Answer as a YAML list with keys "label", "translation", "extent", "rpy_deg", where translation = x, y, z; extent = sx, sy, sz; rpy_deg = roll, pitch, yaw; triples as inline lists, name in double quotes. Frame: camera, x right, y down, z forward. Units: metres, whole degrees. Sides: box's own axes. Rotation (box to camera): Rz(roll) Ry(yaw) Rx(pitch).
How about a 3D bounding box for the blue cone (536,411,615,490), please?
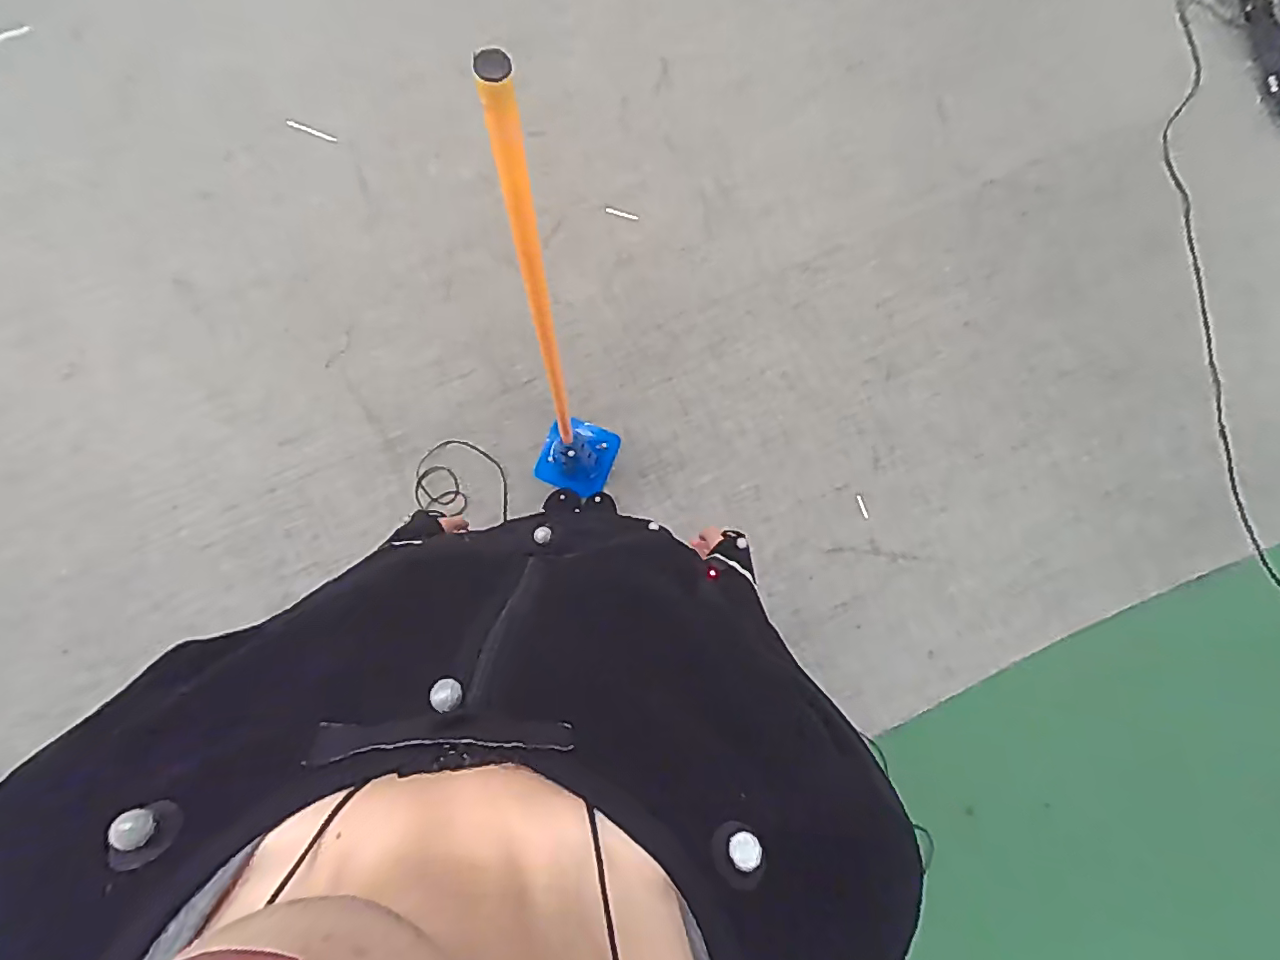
- label: "blue cone"
  translation: [-0.168, -0.094, 1.326]
  extent: [0.192, 0.380, 0.193]
  rpy_deg: [20, 85, -2]
